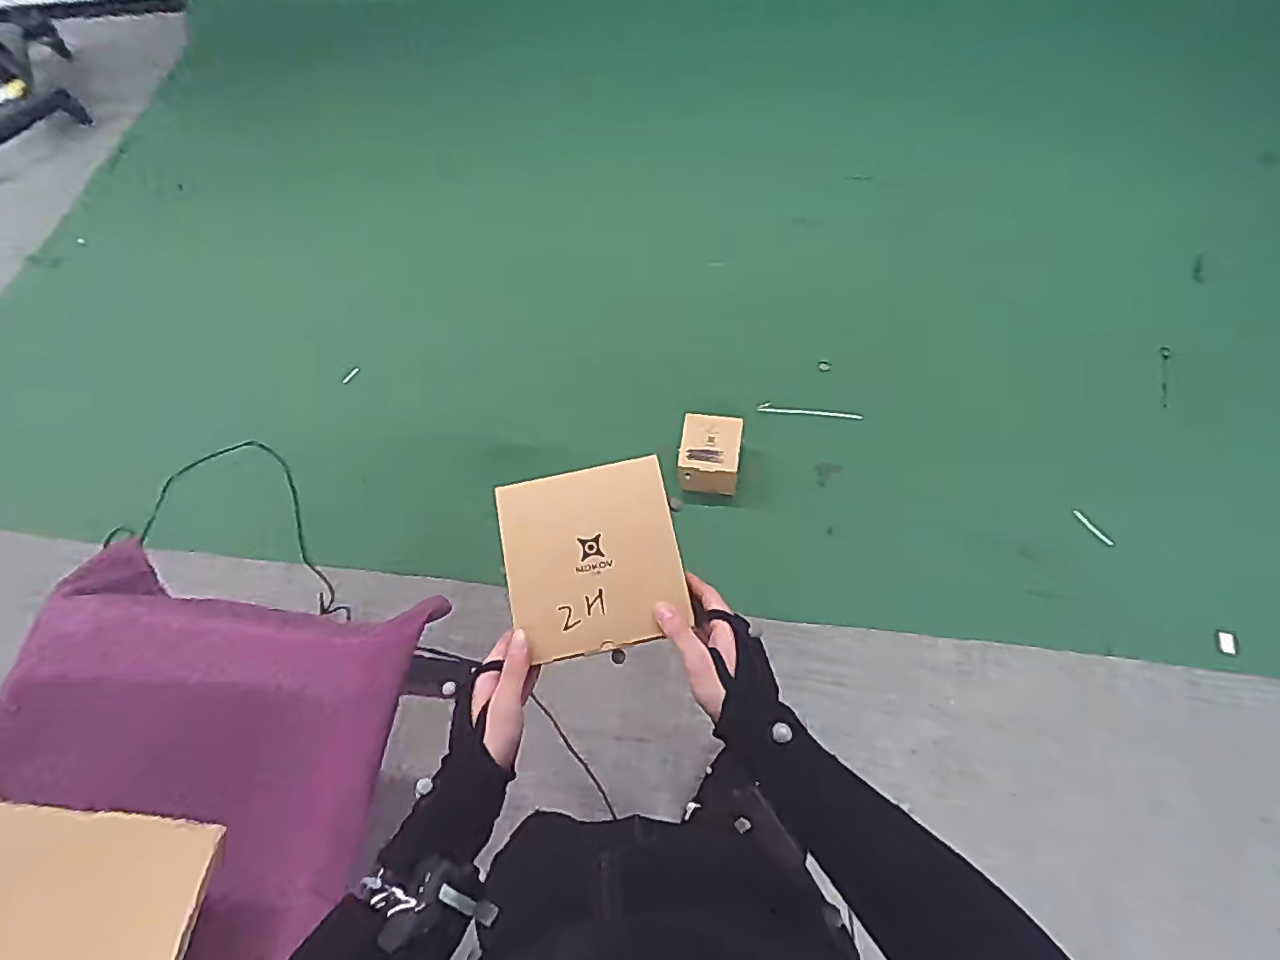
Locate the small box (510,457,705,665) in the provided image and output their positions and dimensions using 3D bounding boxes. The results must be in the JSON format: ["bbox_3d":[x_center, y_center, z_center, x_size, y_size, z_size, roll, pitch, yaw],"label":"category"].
[{"bbox_3d":[-0.032,0.095,0.584,0.168,0.176,0.179,-11,74,0],"label":"small box"}]
